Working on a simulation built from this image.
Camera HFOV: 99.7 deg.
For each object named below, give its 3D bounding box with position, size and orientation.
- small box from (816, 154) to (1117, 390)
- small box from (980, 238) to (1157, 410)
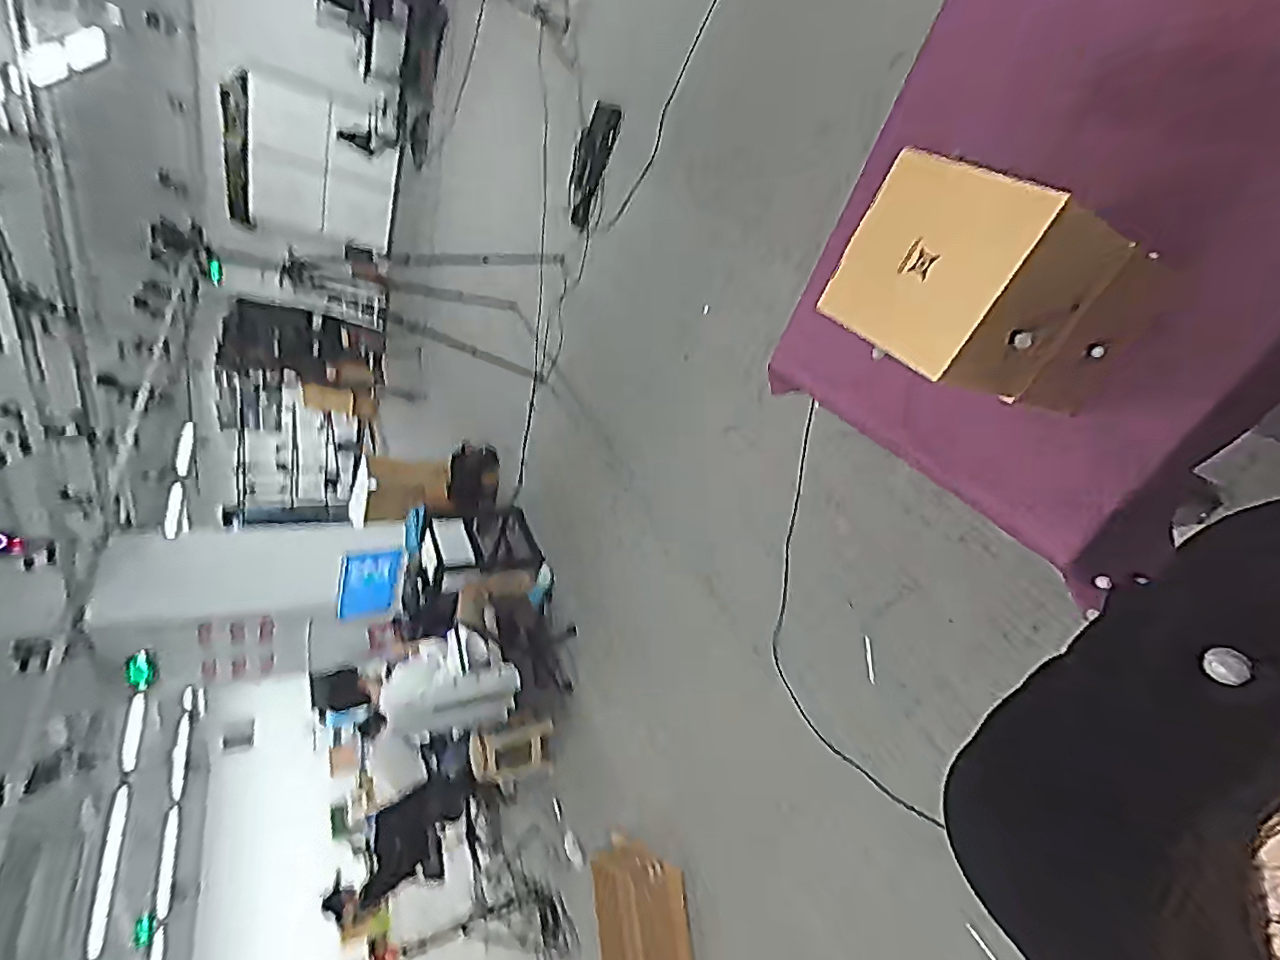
[{"bbox_3d":[0.332,-0.207,0.564,0.179,0.176,0.168,55,132,42],"label":"small box"},{"bbox_3d":[0.466,-0.201,0.655,0.168,0.176,0.179,53,132,42],"label":"small box"}]
